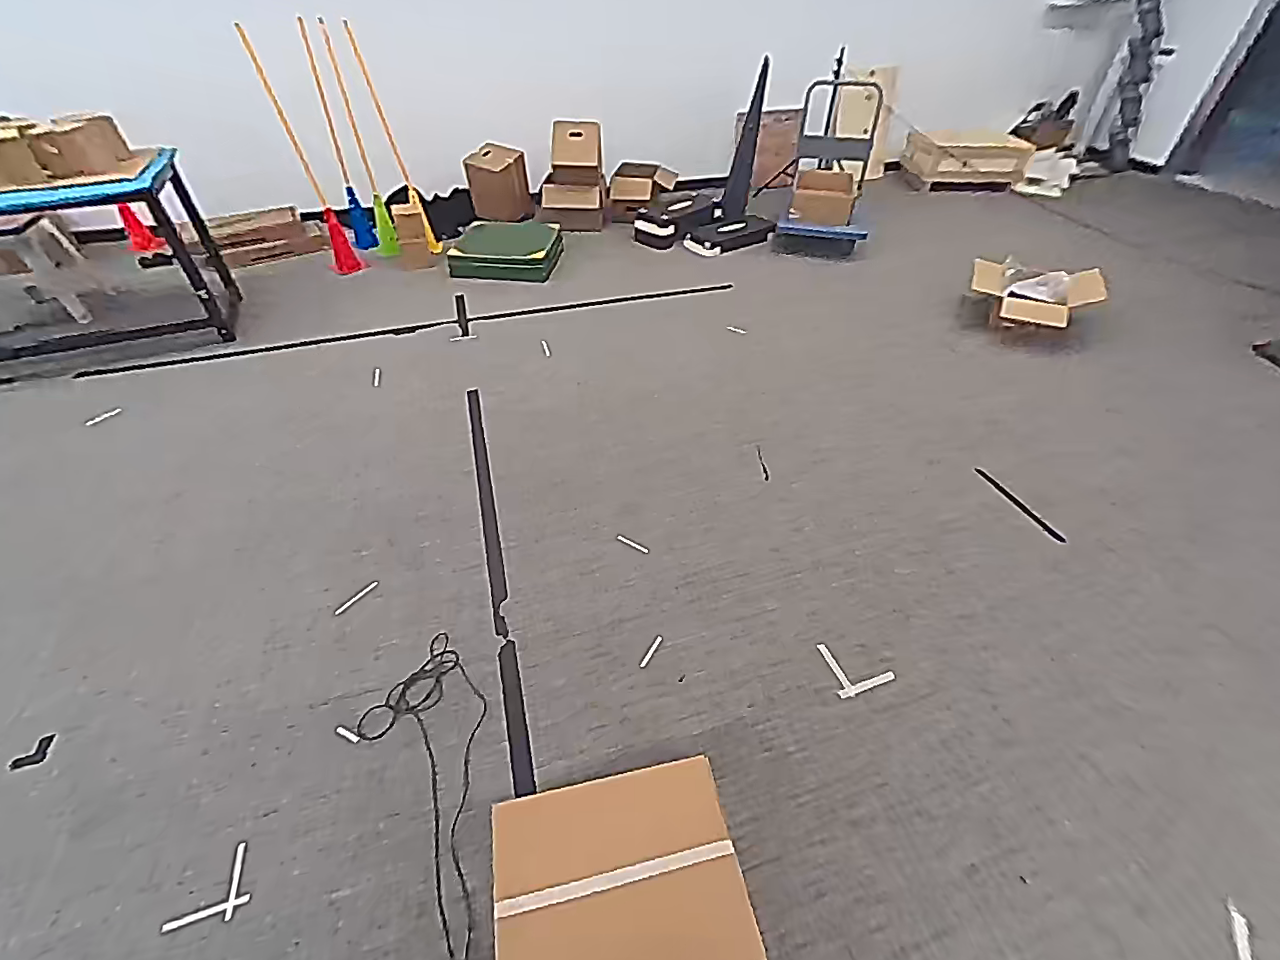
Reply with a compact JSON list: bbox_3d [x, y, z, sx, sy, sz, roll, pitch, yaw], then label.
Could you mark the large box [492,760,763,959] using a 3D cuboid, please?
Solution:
[{"bbox_3d":[-0.037,0.775,0.995,0.408,0.320,0.320,-8,43,-10],"label":"large box"}]
